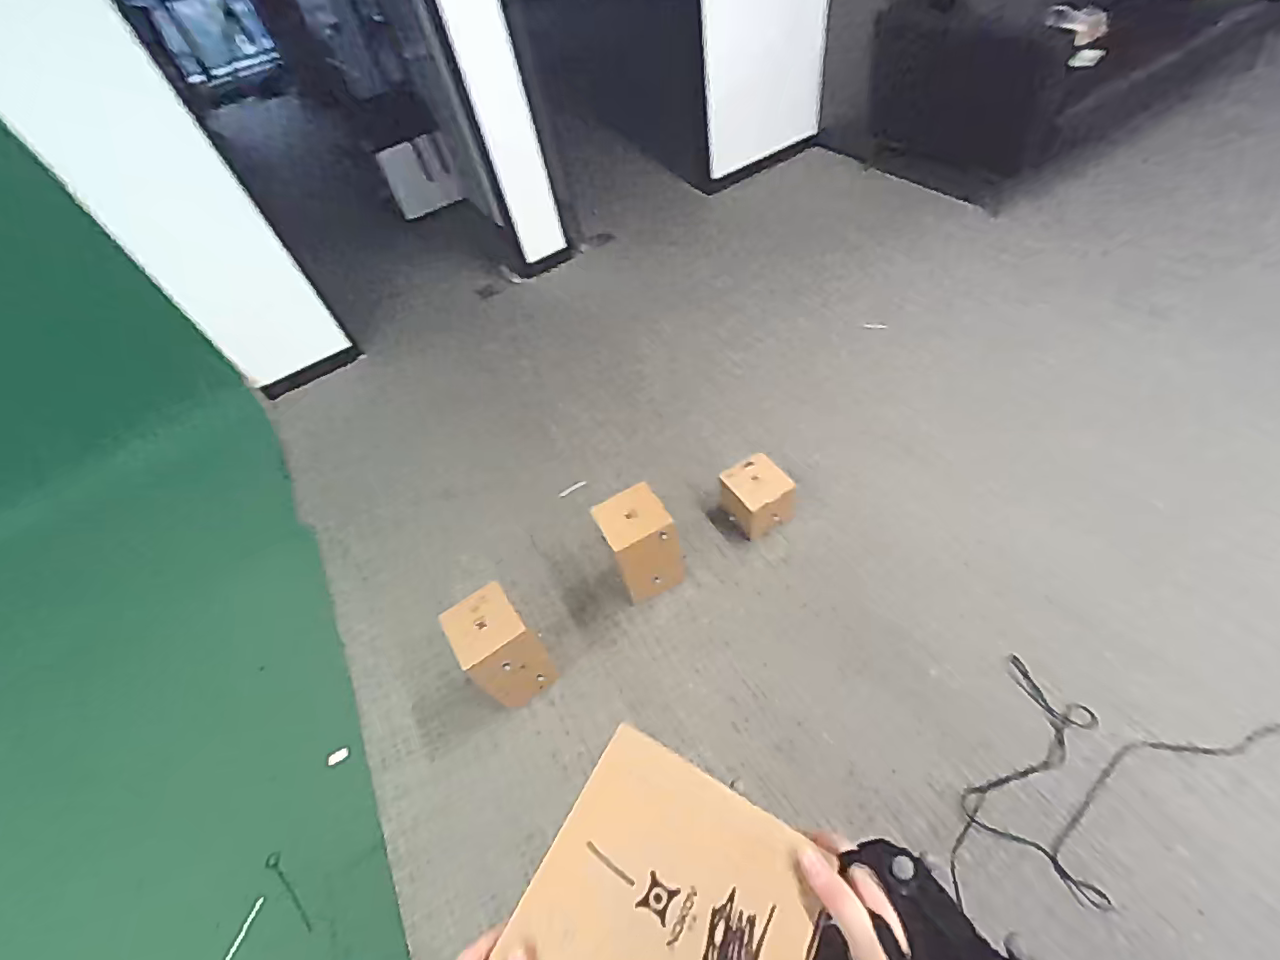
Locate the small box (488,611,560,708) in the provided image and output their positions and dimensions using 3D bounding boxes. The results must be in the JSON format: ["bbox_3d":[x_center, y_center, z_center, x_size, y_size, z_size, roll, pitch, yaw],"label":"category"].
[{"bbox_3d":[-0.342,0.503,1.495,0.168,0.176,0.179,-31,52,-14],"label":"small box"}]

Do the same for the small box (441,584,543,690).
[{"bbox_3d":[-0.369,0.404,1.367,0.168,0.176,0.179,-32,52,-15],"label":"small box"}]

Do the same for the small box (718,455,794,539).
[{"bbox_3d":[0.363,0.062,1.700,0.168,0.176,0.179,-28,52,-11],"label":"small box"}]

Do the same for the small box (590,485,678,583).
[{"bbox_3d":[-0.013,0.153,1.494,0.179,0.176,0.168,-27,51,-10],"label":"small box"}]
